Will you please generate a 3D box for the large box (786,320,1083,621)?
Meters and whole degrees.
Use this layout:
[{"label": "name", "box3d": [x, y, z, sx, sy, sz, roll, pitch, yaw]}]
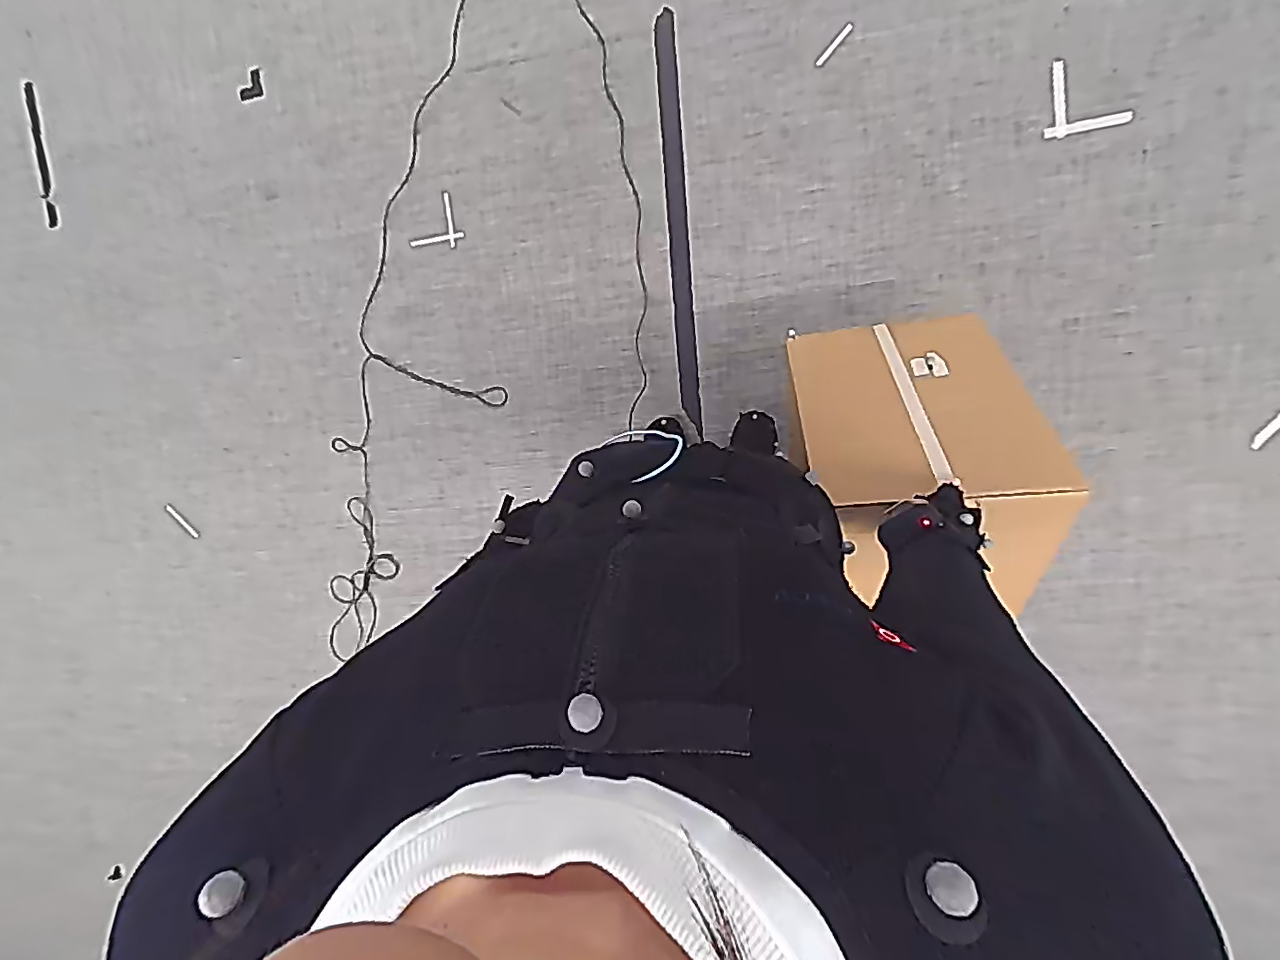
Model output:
[{"label": "large box", "box3d": [0.432, -0.016, 0.921, 0.320, 0.408, 0.320, -4, 135, 10]}]
